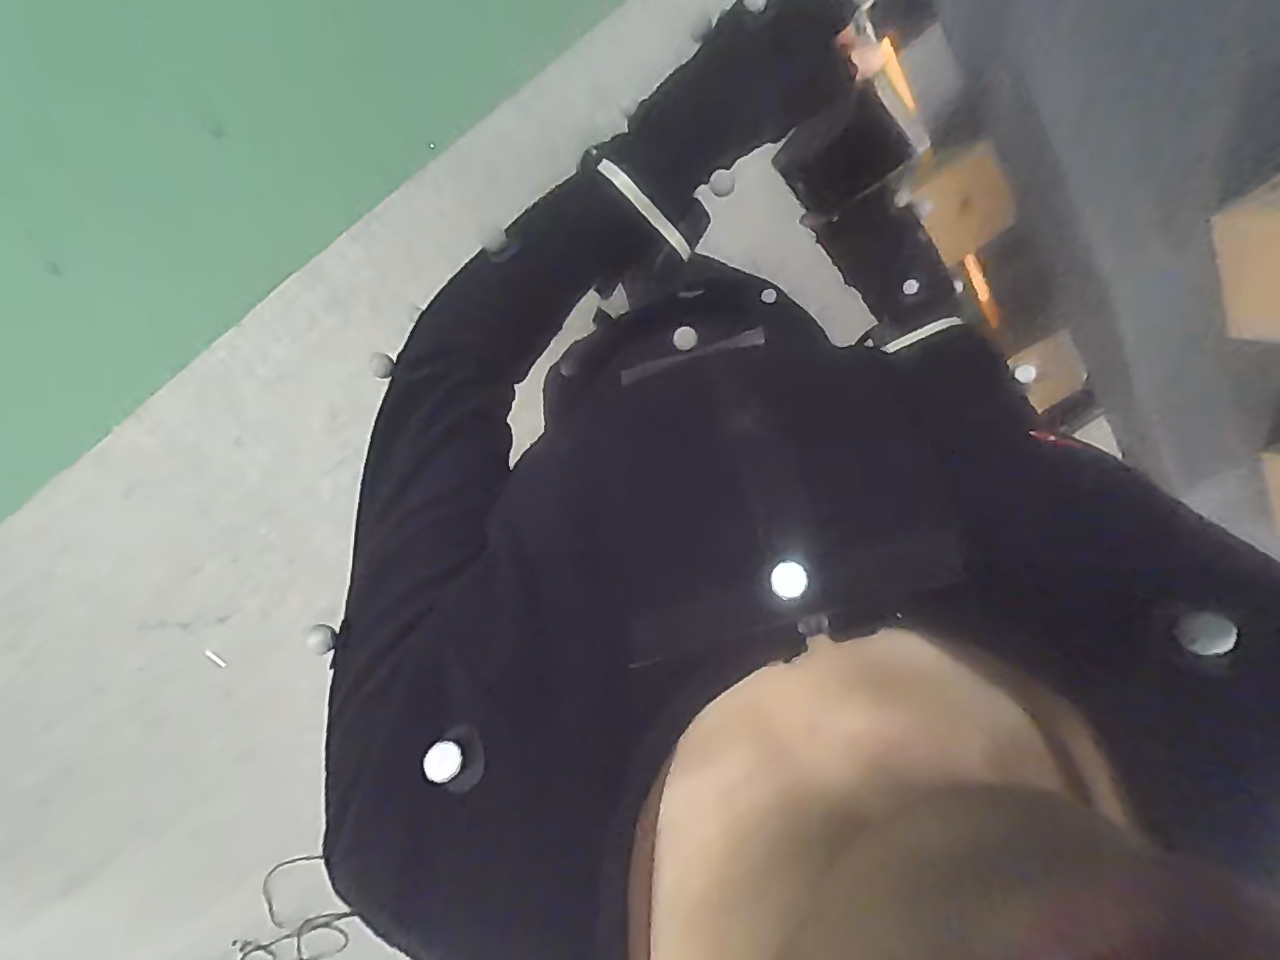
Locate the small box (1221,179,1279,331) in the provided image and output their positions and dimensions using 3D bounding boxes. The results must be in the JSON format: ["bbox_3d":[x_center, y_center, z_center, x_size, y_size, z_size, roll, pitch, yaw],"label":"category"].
[{"bbox_3d":[0.827,-0.277,0.612,0.168,0.176,0.179,-32,111,8],"label":"small box"}]

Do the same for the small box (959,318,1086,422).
[{"bbox_3d":[0.902,-0.267,1.295,0.179,0.176,0.168,-32,111,8],"label":"small box"}]
